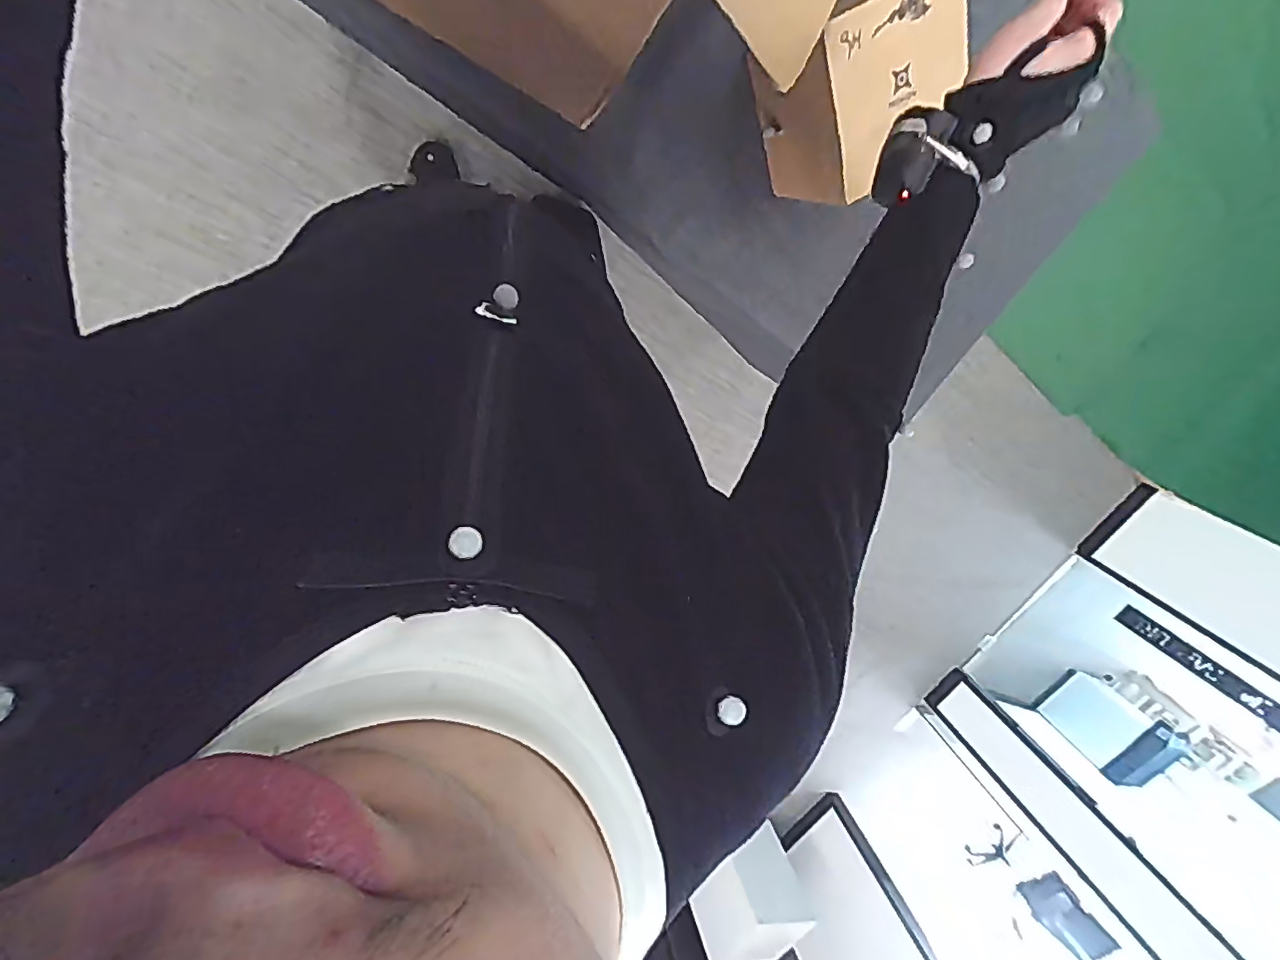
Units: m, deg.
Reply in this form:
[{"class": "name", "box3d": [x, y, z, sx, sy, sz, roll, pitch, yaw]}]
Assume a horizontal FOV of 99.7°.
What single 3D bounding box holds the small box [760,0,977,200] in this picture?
[{"class": "small box", "box3d": [0.265, -0.466, 0.646, 0.168, 0.176, 0.179, -25, 126, -1]}]
